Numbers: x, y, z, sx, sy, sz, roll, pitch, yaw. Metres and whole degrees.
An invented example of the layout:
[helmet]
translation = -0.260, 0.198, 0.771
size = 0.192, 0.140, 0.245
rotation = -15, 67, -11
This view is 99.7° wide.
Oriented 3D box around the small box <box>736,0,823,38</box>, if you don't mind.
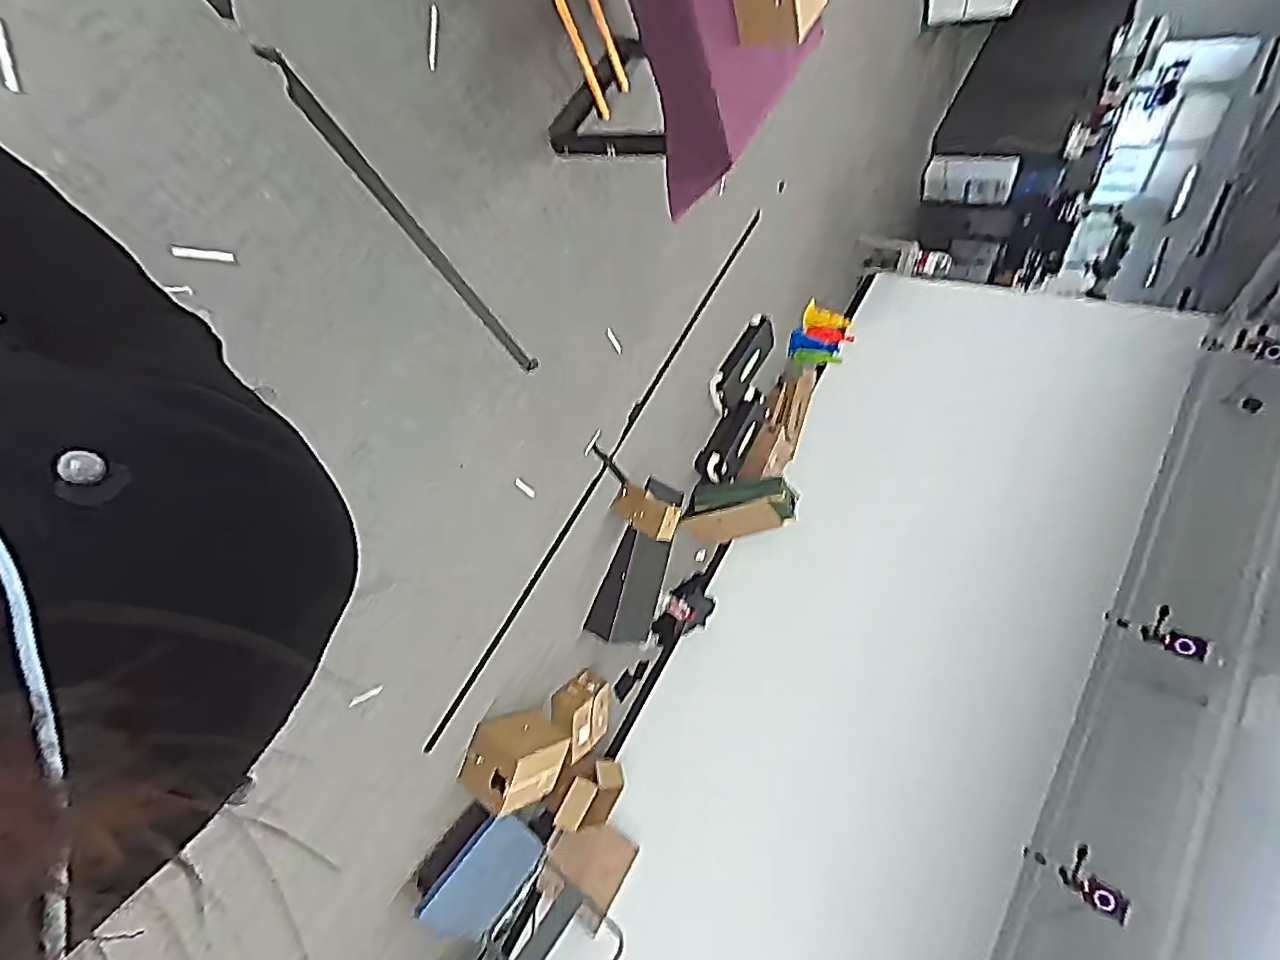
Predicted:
[small box]
translation = 0.336, -1.216, 1.307
size = 0.168, 0.176, 0.179
rotation = -59, 148, -12
